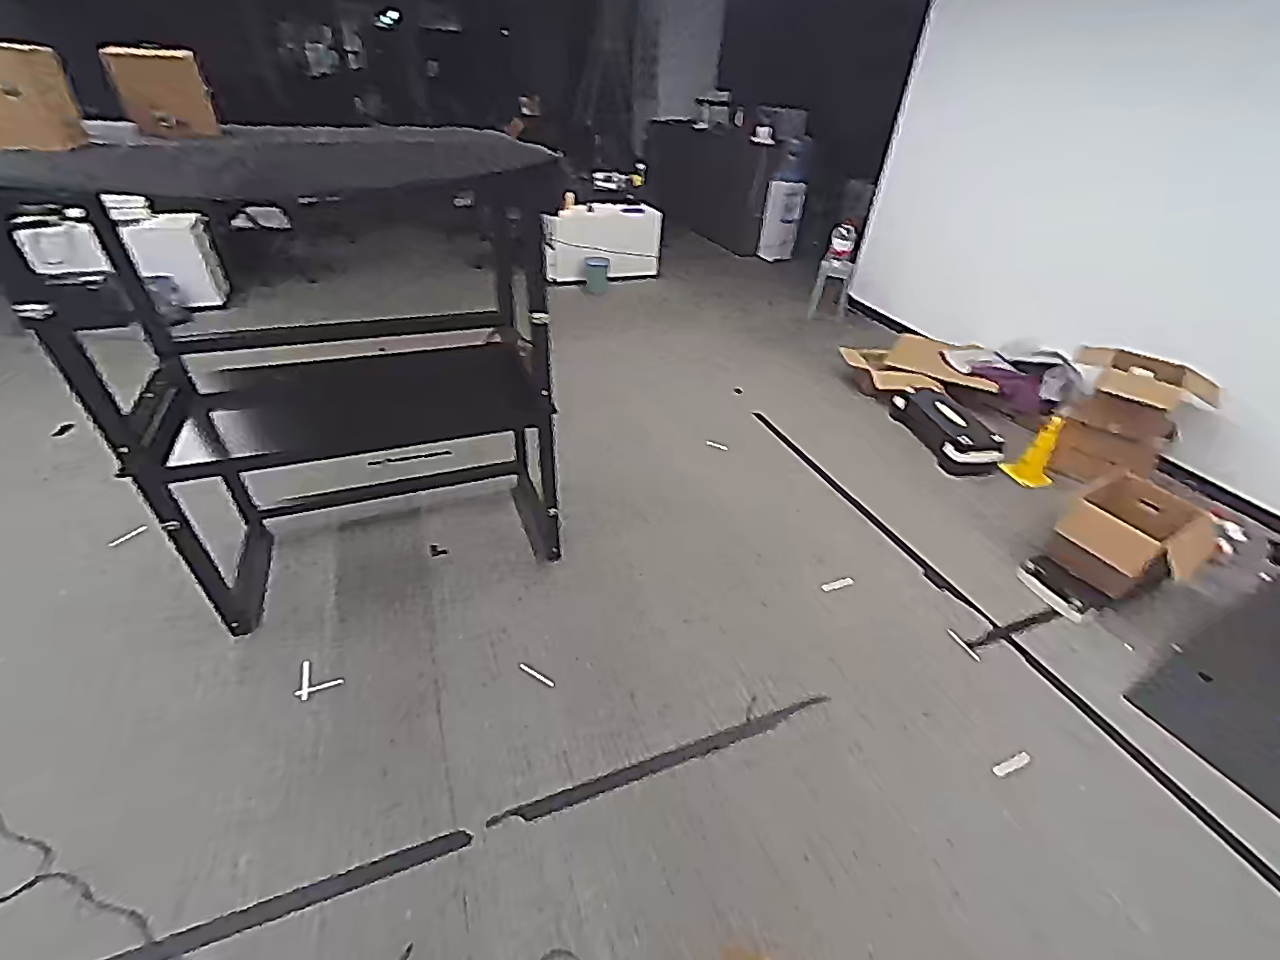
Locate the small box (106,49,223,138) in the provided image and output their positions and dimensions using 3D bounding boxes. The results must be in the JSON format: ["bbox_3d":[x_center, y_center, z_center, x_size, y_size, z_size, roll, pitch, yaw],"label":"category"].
[{"bbox_3d":[-1.190,-0.978,1.370,0.168,0.176,0.179,-17,42,-24],"label":"small box"}]
